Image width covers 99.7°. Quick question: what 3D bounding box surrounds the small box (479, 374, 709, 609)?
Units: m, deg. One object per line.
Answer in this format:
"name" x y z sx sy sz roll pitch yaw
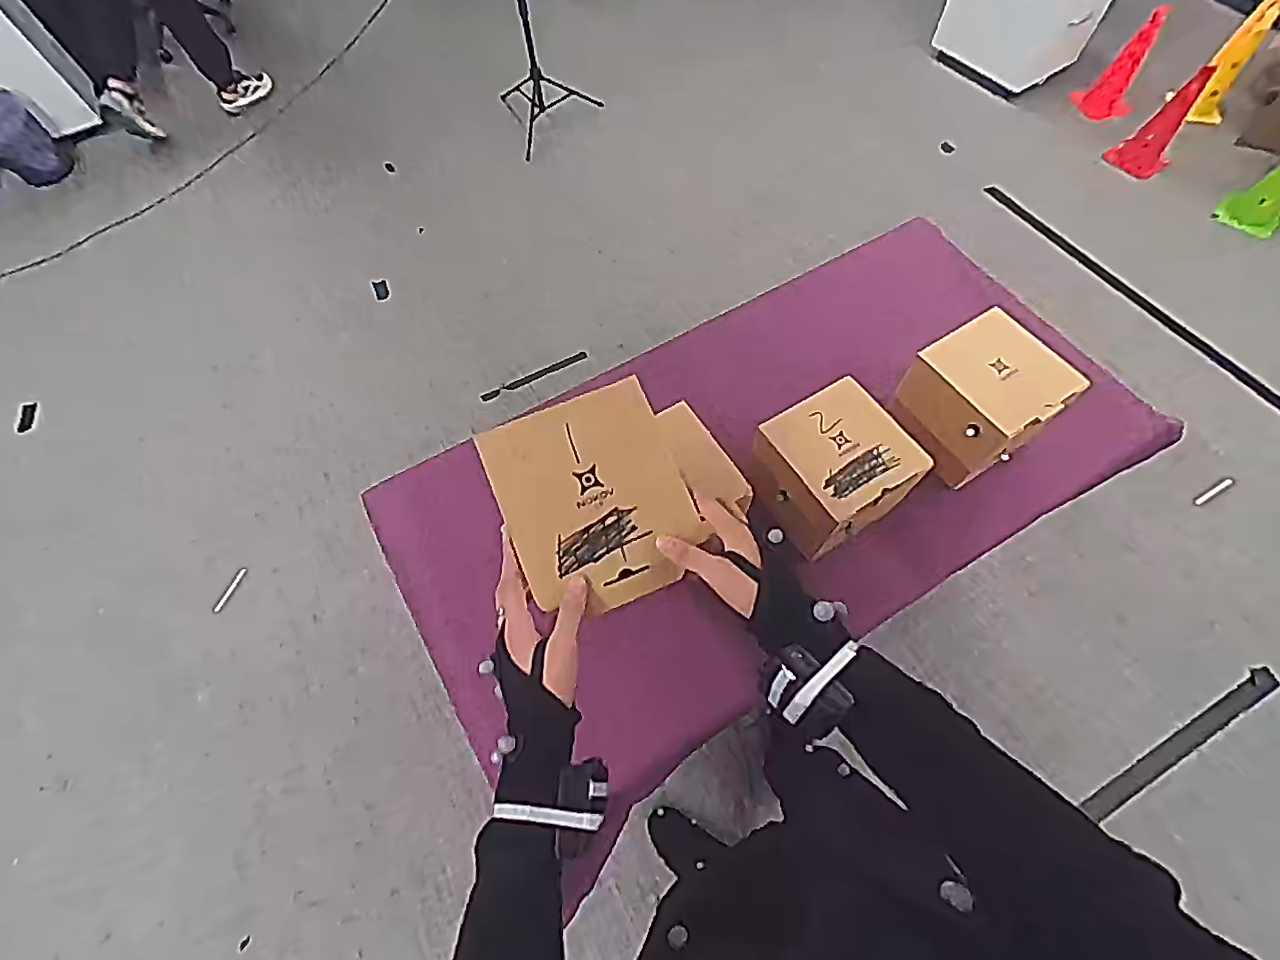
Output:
"small box" -0.045 0.021 0.568 0.168 0.176 0.179 -22 79 -7

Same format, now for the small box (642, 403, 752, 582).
"small box" 0.040 0.025 0.804 0.168 0.176 0.179 -29 67 -10

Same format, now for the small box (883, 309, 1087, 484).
"small box" 0.524 -0.126 0.853 0.168 0.176 0.179 -30 67 -11
